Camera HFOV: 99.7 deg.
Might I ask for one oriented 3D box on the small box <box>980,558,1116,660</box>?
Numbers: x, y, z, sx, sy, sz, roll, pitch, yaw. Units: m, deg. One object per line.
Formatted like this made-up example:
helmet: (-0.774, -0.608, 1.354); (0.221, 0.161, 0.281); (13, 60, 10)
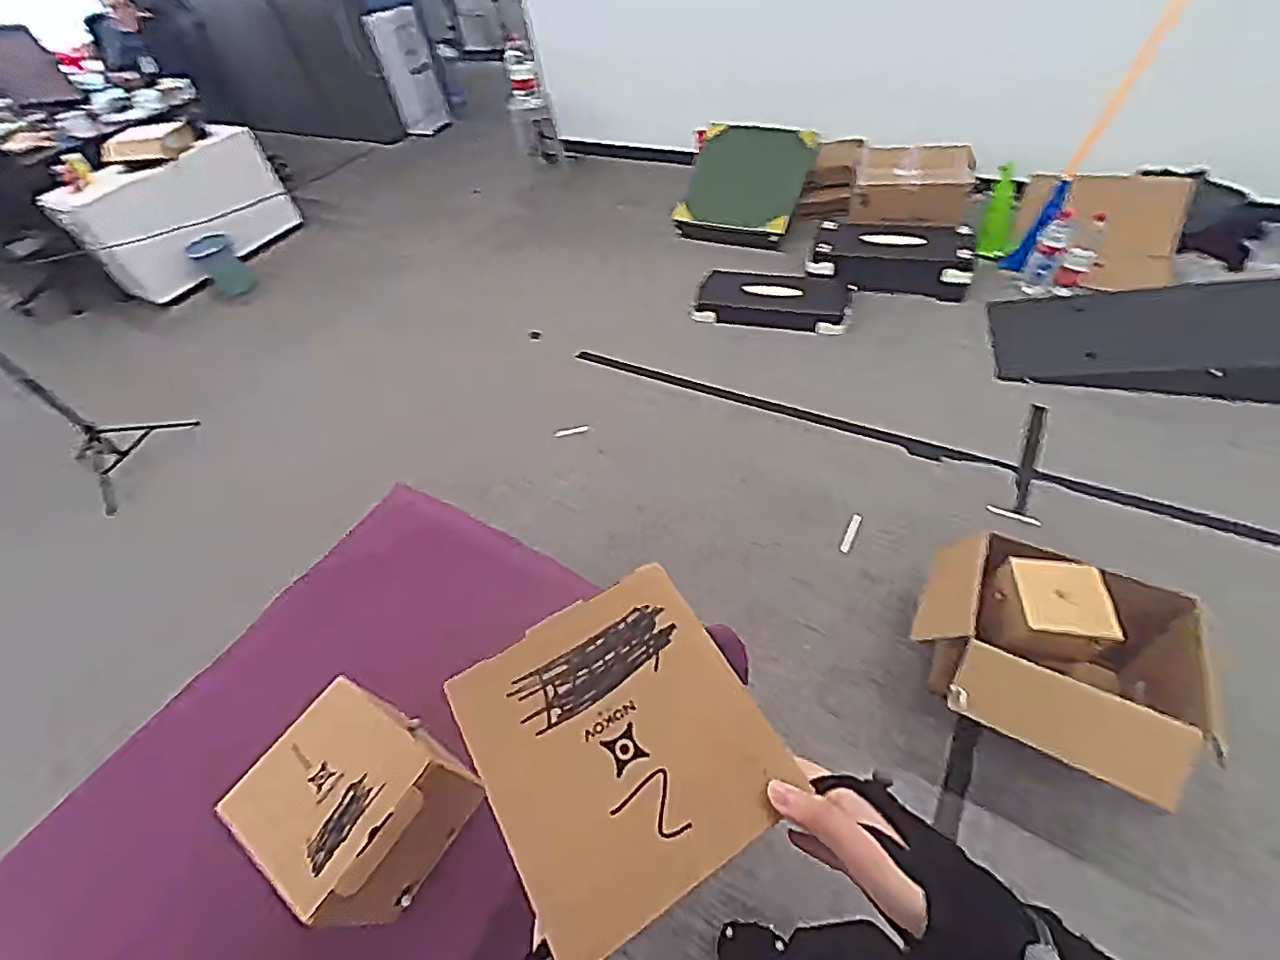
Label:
small box: (0.893, 0.292, 1.211); (0.179, 0.176, 0.168); (4, 54, 7)

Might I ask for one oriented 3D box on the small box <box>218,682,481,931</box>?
small box: (-0.319, 0.374, 0.628); (0.179, 0.176, 0.168); (23, 58, 26)
